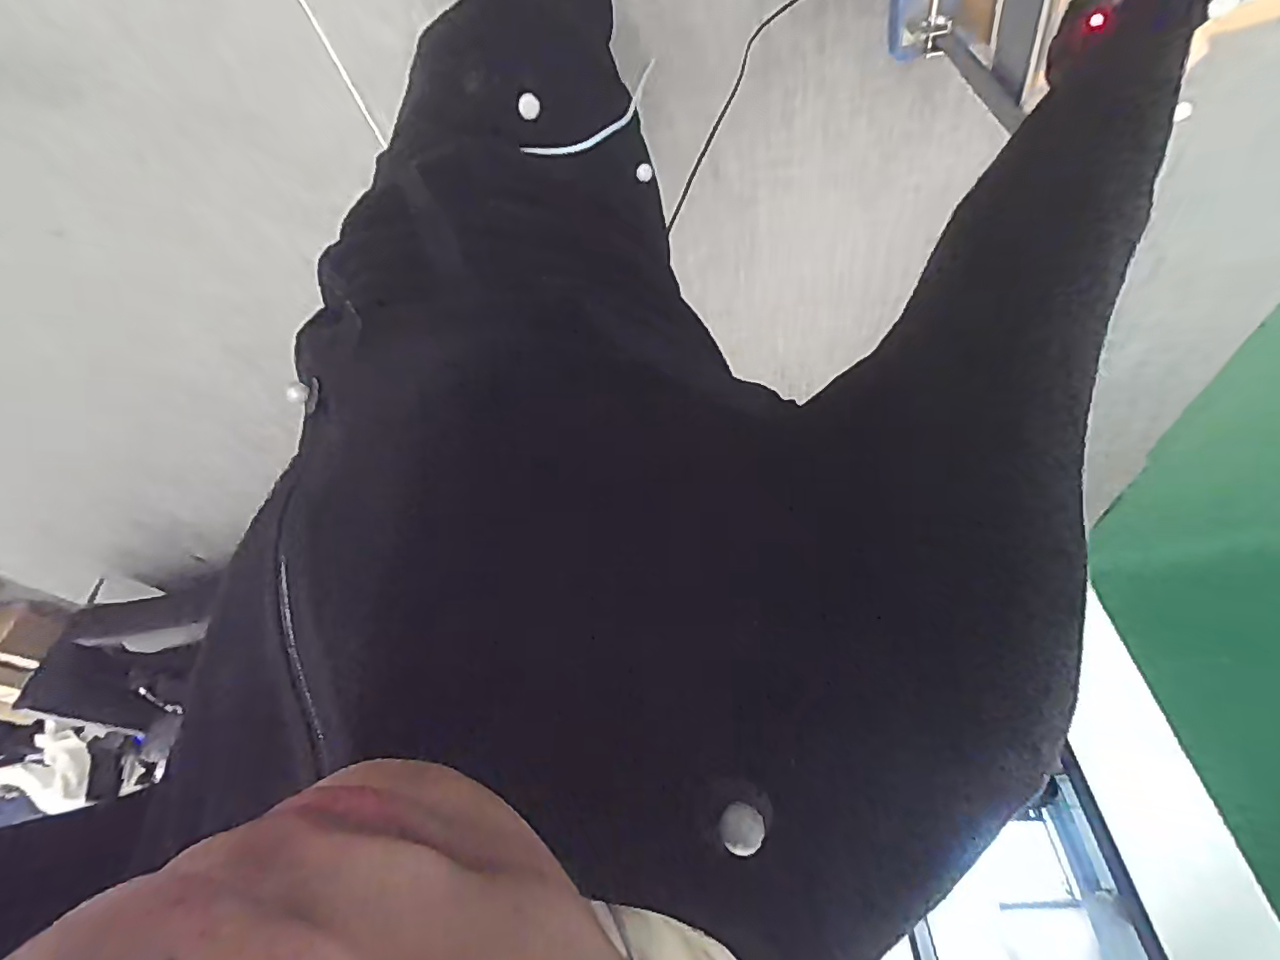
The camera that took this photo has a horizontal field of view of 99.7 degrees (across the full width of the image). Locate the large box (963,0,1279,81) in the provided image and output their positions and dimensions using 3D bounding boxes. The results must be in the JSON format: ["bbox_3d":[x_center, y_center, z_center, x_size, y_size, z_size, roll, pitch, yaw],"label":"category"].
[{"bbox_3d":[0.730,-0.834,0.733,0.408,0.320,0.320,-11,144,11],"label":"large box"}]
